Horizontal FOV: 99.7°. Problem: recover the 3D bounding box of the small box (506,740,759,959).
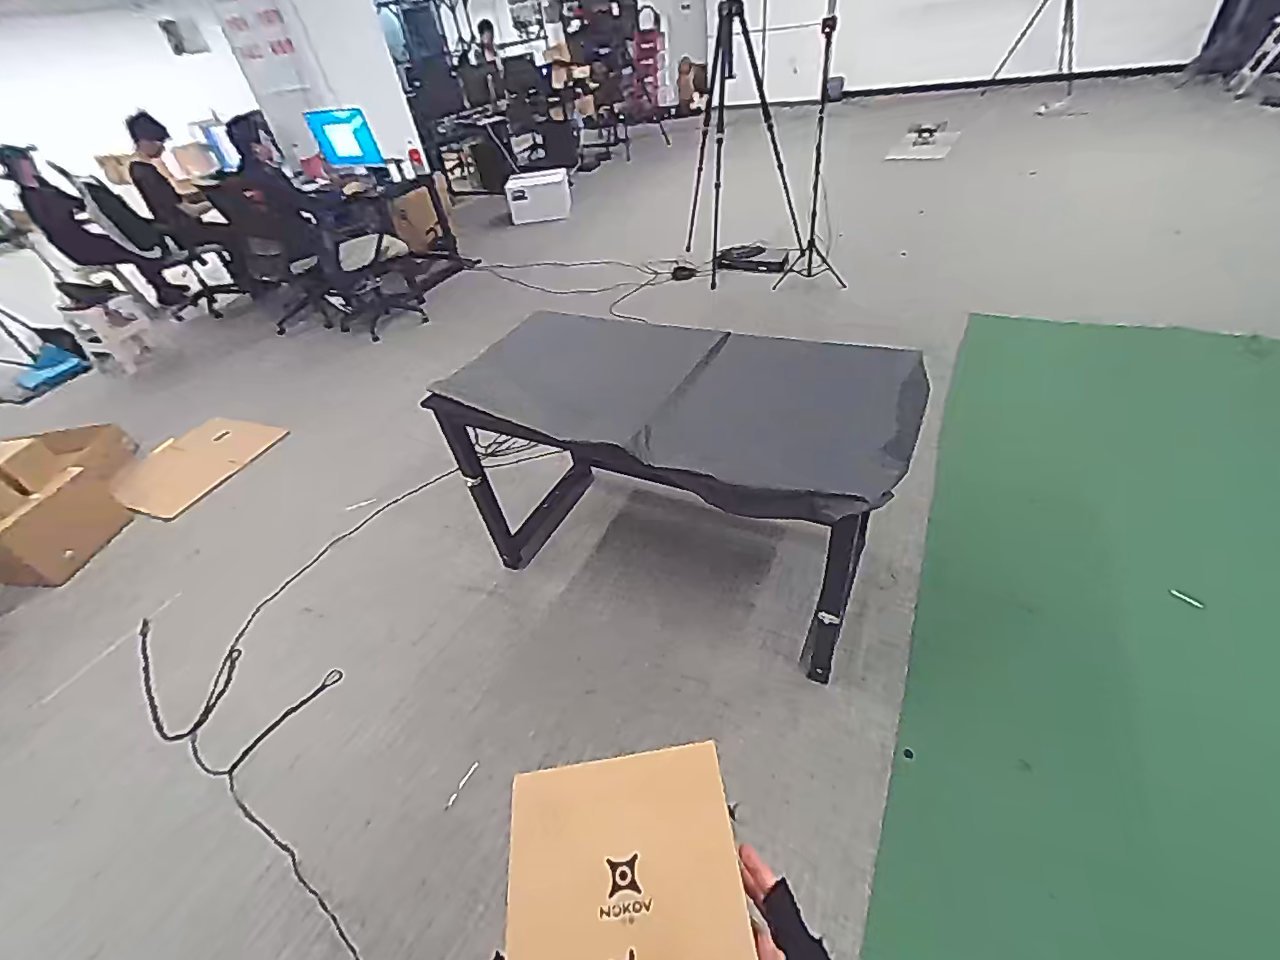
[{"bbox_3d":[0.000,0.337,0.432,0.168,0.176,0.179,-10,46,1],"label":"small box"}]
